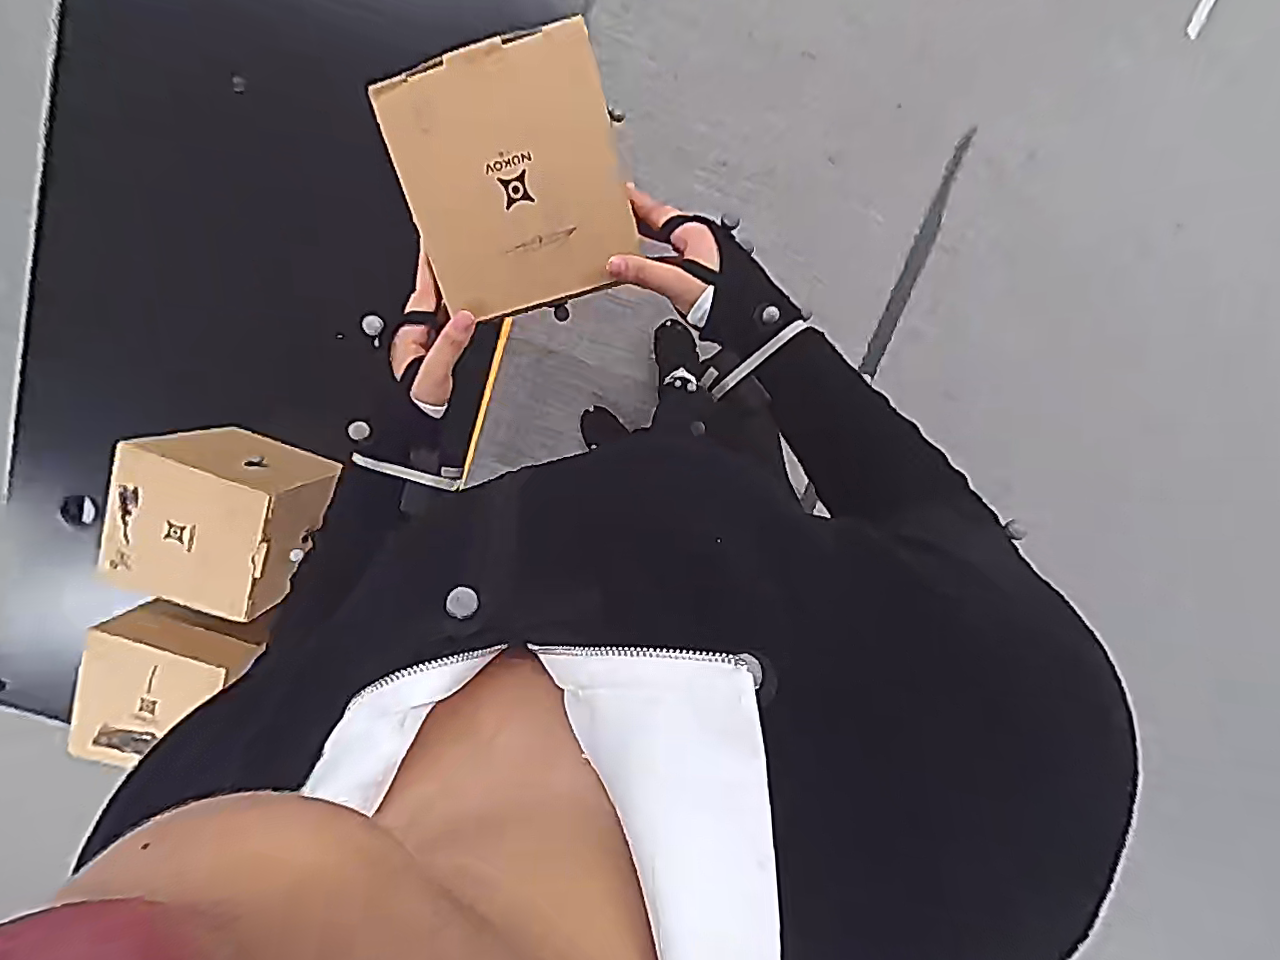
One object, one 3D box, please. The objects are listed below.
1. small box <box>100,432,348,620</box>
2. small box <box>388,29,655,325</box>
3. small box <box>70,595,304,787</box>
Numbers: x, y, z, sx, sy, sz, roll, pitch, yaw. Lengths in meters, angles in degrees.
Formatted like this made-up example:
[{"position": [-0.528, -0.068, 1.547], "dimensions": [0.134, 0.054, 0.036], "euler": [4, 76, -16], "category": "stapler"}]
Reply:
[{"position": [-0.509, 0.046, 0.686], "dimensions": [0.179, 0.176, 0.168], "euler": [19, 100, -4], "category": "small box"}, {"position": [-0.087, -0.248, 0.488], "dimensions": [0.168, 0.176, 0.179], "euler": [-13, 109, 5], "category": "small box"}, {"position": [-0.591, 0.259, 0.727], "dimensions": [0.168, 0.176, 0.179], "euler": [19, 100, -4], "category": "small box"}]
